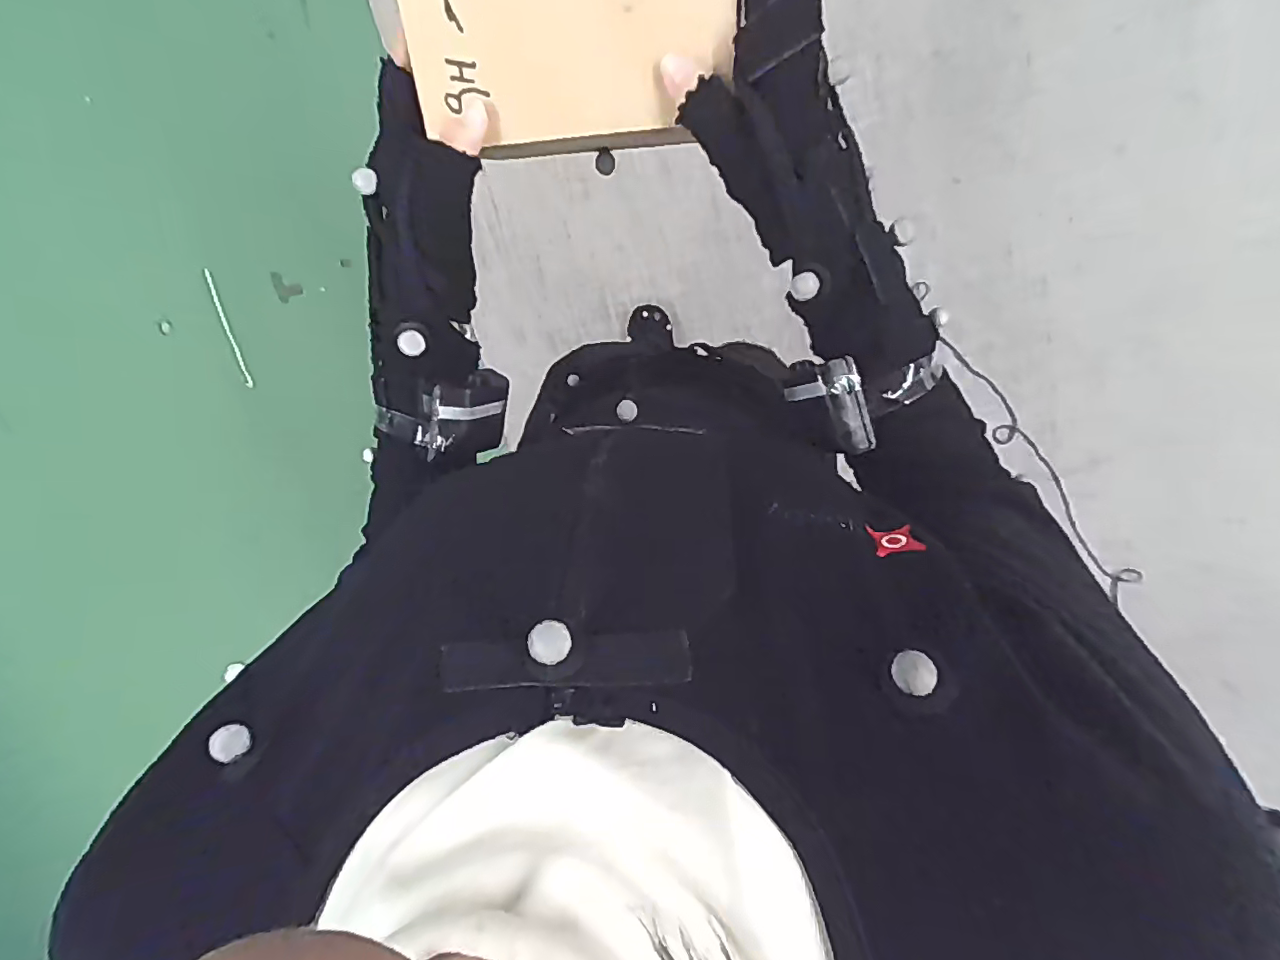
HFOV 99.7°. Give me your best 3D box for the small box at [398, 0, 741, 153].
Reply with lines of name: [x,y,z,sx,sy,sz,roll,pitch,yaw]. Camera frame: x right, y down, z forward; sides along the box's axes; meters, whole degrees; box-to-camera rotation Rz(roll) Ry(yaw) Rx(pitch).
small box: [-0.038,-0.304,0.331,0.179,0.176,0.168,-3,118,2]
